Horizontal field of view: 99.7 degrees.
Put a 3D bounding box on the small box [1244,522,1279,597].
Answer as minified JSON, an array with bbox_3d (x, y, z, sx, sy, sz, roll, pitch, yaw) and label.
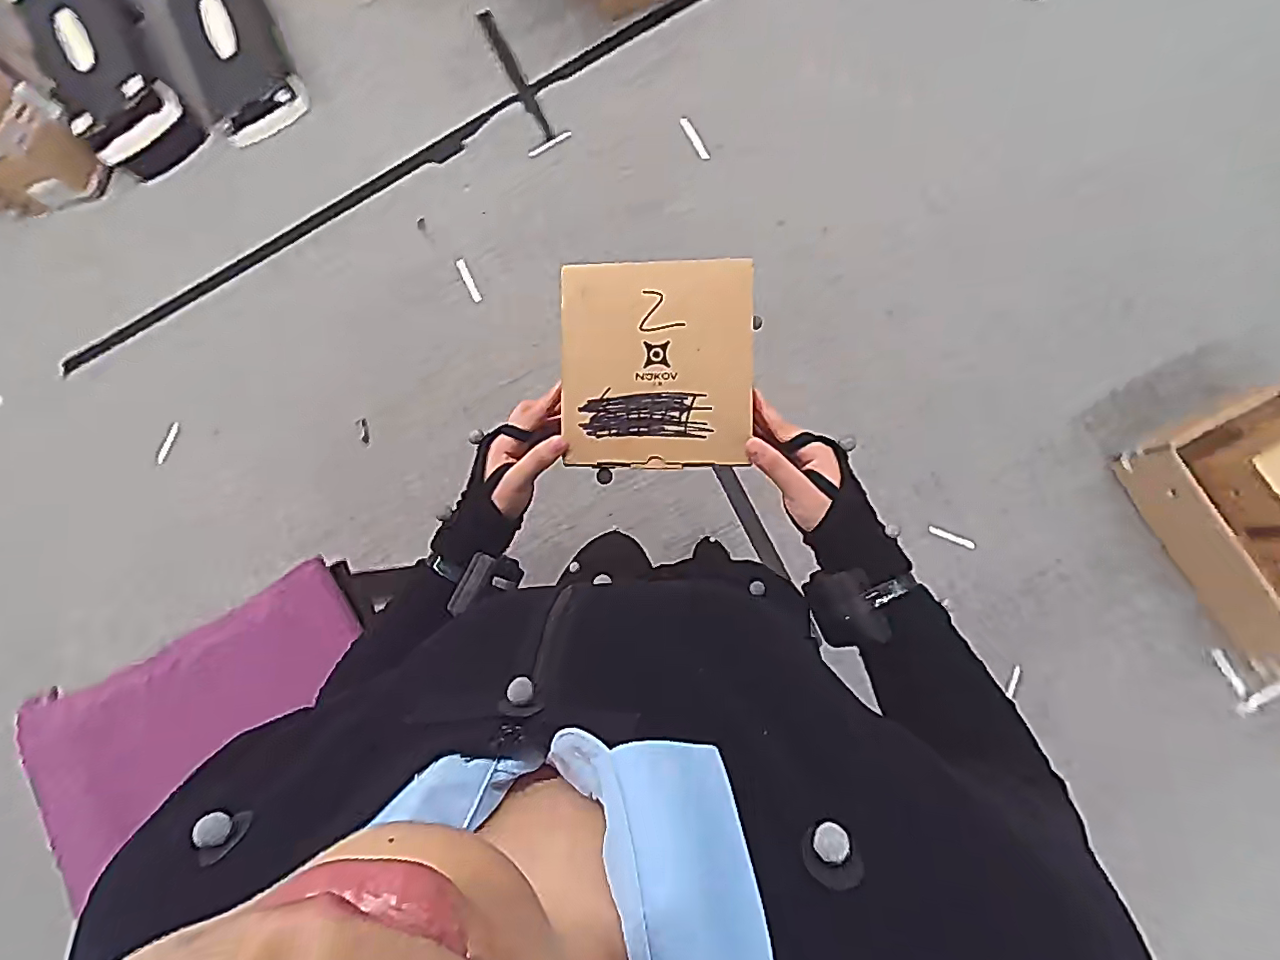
[{"bbox_3d":[1.557,0.167,1.215,0.179,0.176,0.168,-24,81,4],"label":"small box"}]

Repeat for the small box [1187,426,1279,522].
[{"bbox_3d":[1.436,-0.012,1.244,0.179,0.176,0.168,-31,83,2],"label":"small box"}]
